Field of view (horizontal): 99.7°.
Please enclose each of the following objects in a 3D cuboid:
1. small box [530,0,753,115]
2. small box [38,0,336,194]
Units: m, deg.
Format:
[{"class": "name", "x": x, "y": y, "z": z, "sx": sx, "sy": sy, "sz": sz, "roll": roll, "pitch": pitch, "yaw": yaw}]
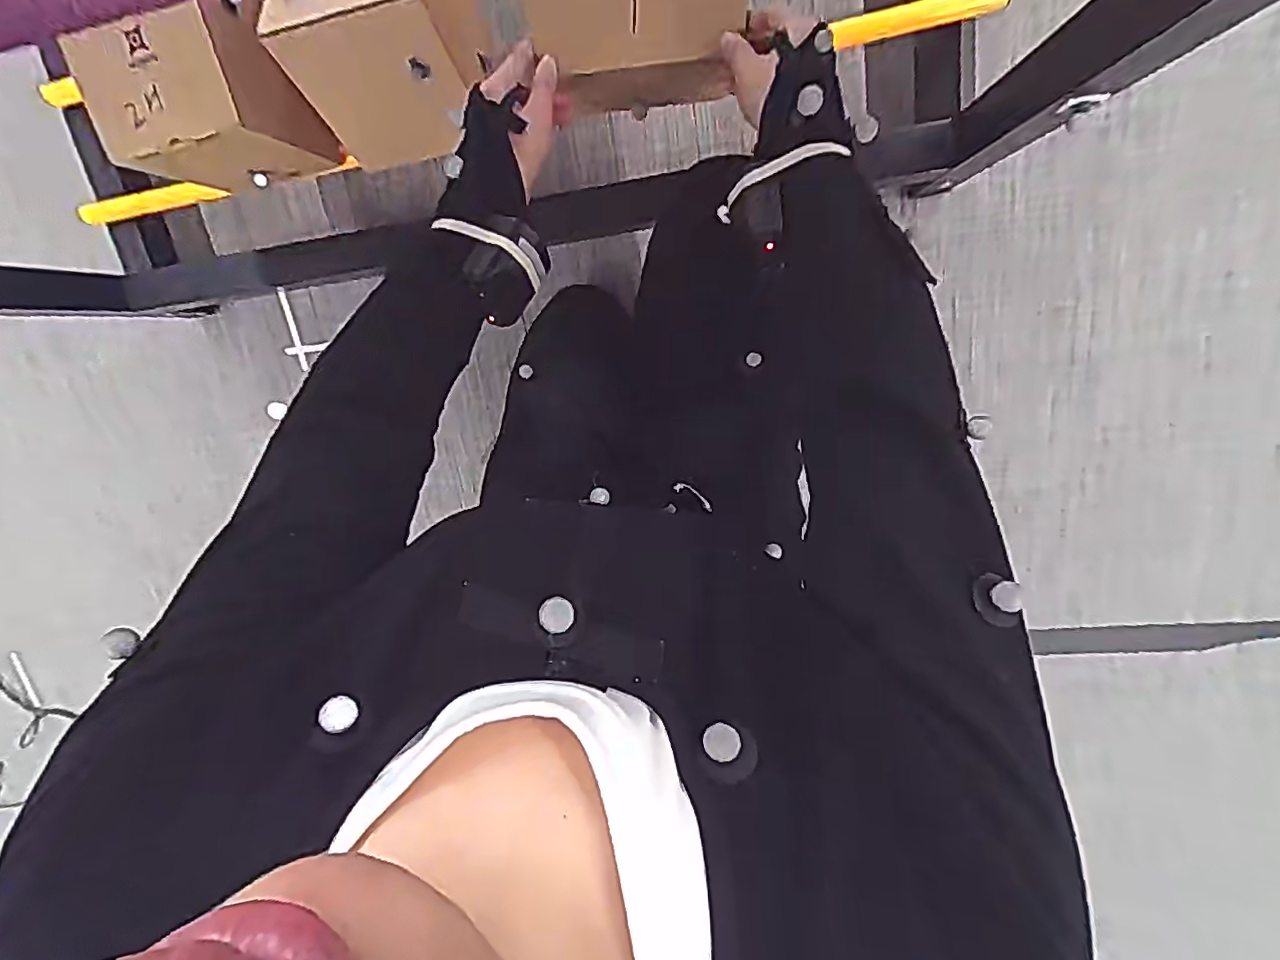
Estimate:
[{"class": "small box", "x": 0.000, "y": -0.427, "z": 0.447, "sx": 0.168, "sy": 0.176, "sz": 0.179, "roll": -3, "pitch": 115, "yaw": 4}, {"class": "small box", "x": -0.488, "y": -0.448, "z": 0.608, "sx": 0.168, "sy": 0.176, "sz": 0.179, "roll": -9, "pitch": 106, "yaw": 9}]
